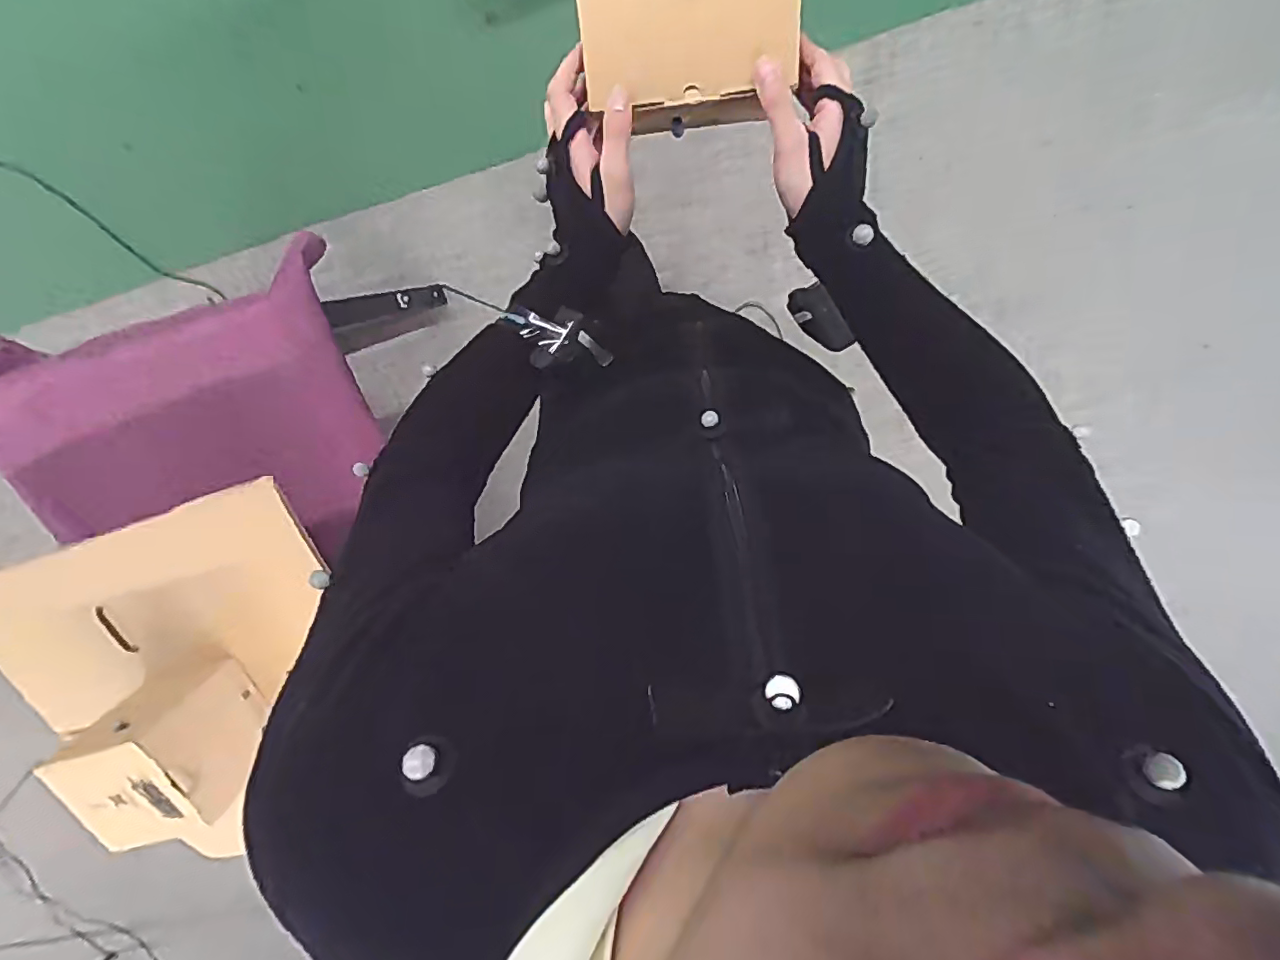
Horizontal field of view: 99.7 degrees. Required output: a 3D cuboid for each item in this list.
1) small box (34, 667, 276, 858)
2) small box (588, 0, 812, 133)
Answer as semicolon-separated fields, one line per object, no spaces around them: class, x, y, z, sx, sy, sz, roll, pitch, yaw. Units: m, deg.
small box;-0.679;0.402;0.790;0.179;0.176;0.168;-17;108;9
small box;0.046;-0.409;0.452;0.168;0.176;0.179;-2;118;6
